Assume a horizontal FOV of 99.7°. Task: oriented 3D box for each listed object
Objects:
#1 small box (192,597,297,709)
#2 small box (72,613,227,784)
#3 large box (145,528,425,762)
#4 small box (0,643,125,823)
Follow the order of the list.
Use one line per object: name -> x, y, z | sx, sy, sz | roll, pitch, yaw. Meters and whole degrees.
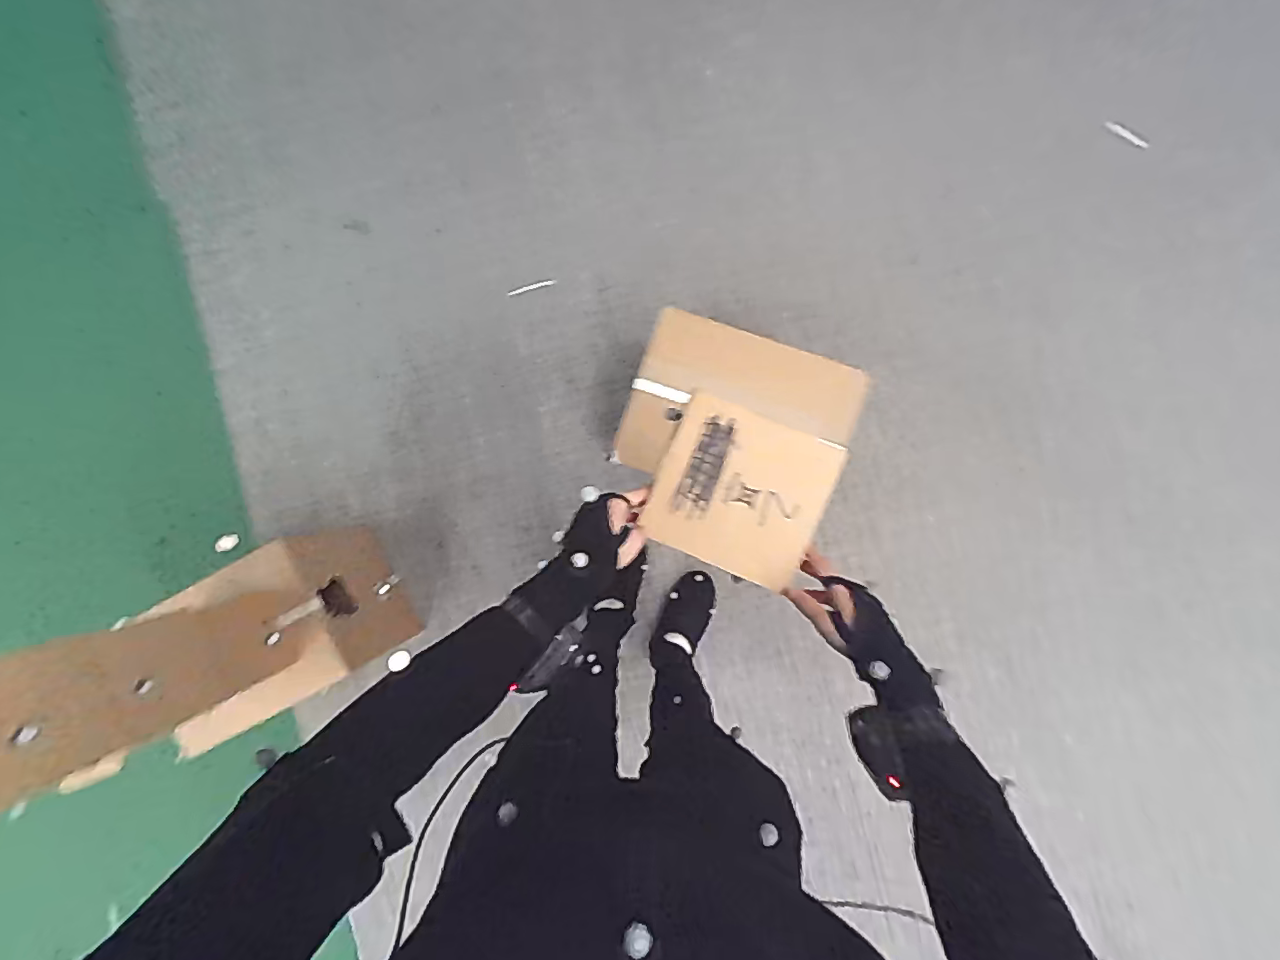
small box -> -0.793, 0.339, 1.002 | 0.179, 0.176, 0.168 | -25, 90, 4
small box -> -0.799, 0.333, 0.839 | 0.168, 0.176, 0.179 | -24, 89, 4
large box -> -0.797, 0.351, 1.249 | 0.408, 0.320, 0.320 | -29, 87, 6
small box -> -0.817, 0.335, 0.675 | 0.168, 0.176, 0.179 | -25, 91, 4
